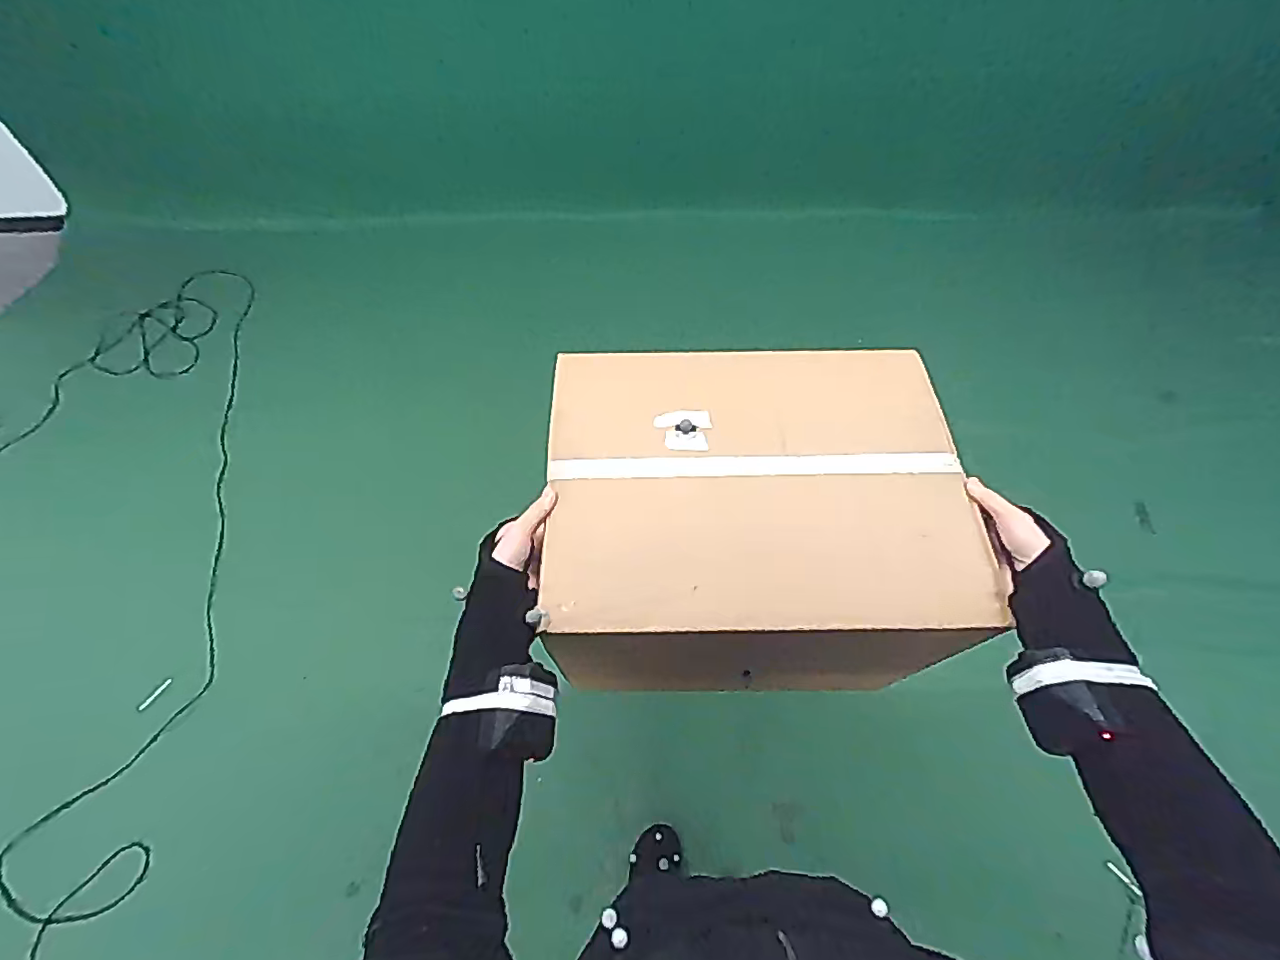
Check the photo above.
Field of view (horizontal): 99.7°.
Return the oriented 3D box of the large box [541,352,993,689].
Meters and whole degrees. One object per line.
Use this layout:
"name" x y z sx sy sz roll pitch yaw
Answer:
"large box" 0.112 0.069 0.671 0.408 0.320 0.320 -2 59 1
